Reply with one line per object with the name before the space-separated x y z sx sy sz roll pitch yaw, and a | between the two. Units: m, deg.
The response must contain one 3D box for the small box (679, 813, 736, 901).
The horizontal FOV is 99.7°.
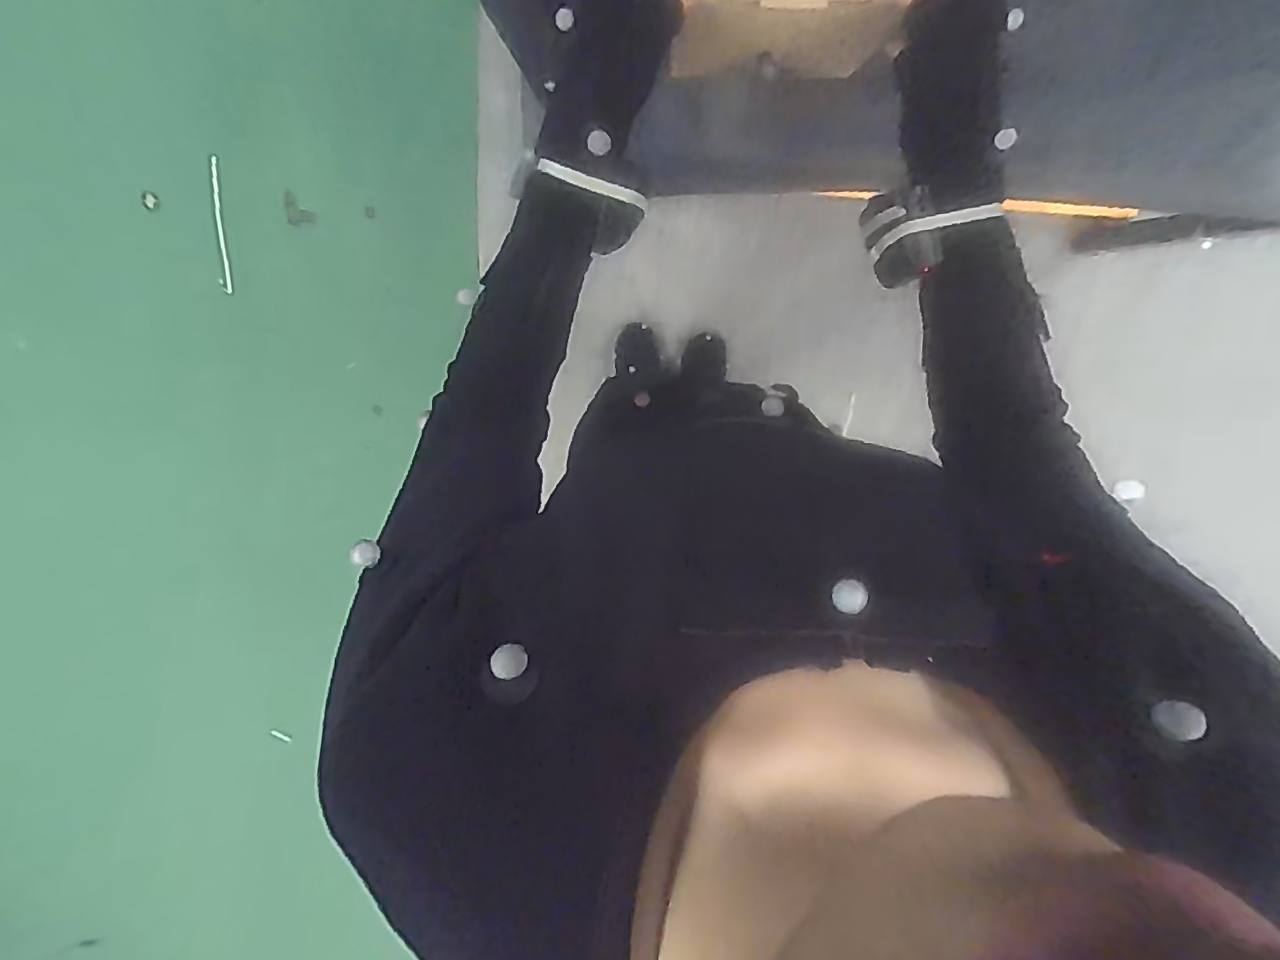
small box | 0.220 1.257 1.806 0.168 0.176 0.179 2 106 0
